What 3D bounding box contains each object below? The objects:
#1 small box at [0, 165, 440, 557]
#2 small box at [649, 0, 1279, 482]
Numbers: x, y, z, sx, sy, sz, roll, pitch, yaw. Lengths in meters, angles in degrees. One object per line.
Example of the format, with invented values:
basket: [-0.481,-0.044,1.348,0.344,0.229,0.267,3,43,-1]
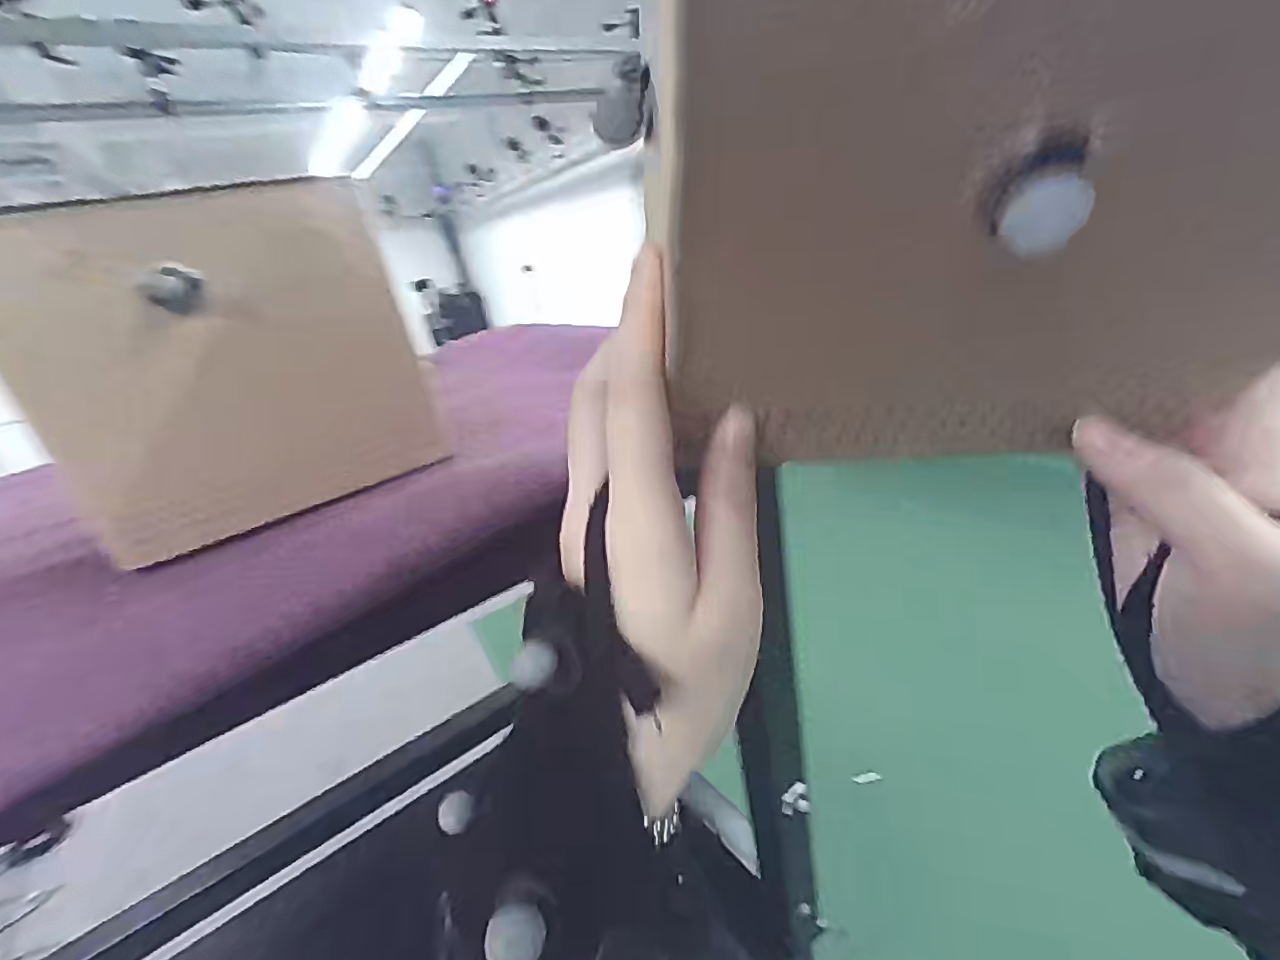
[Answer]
small box: [-0.255,-0.075,0.341,0.179,0.176,0.168,-25,26,-27]
small box: [0.091,-0.108,0.156,0.179,0.176,0.168,-2,61,2]
